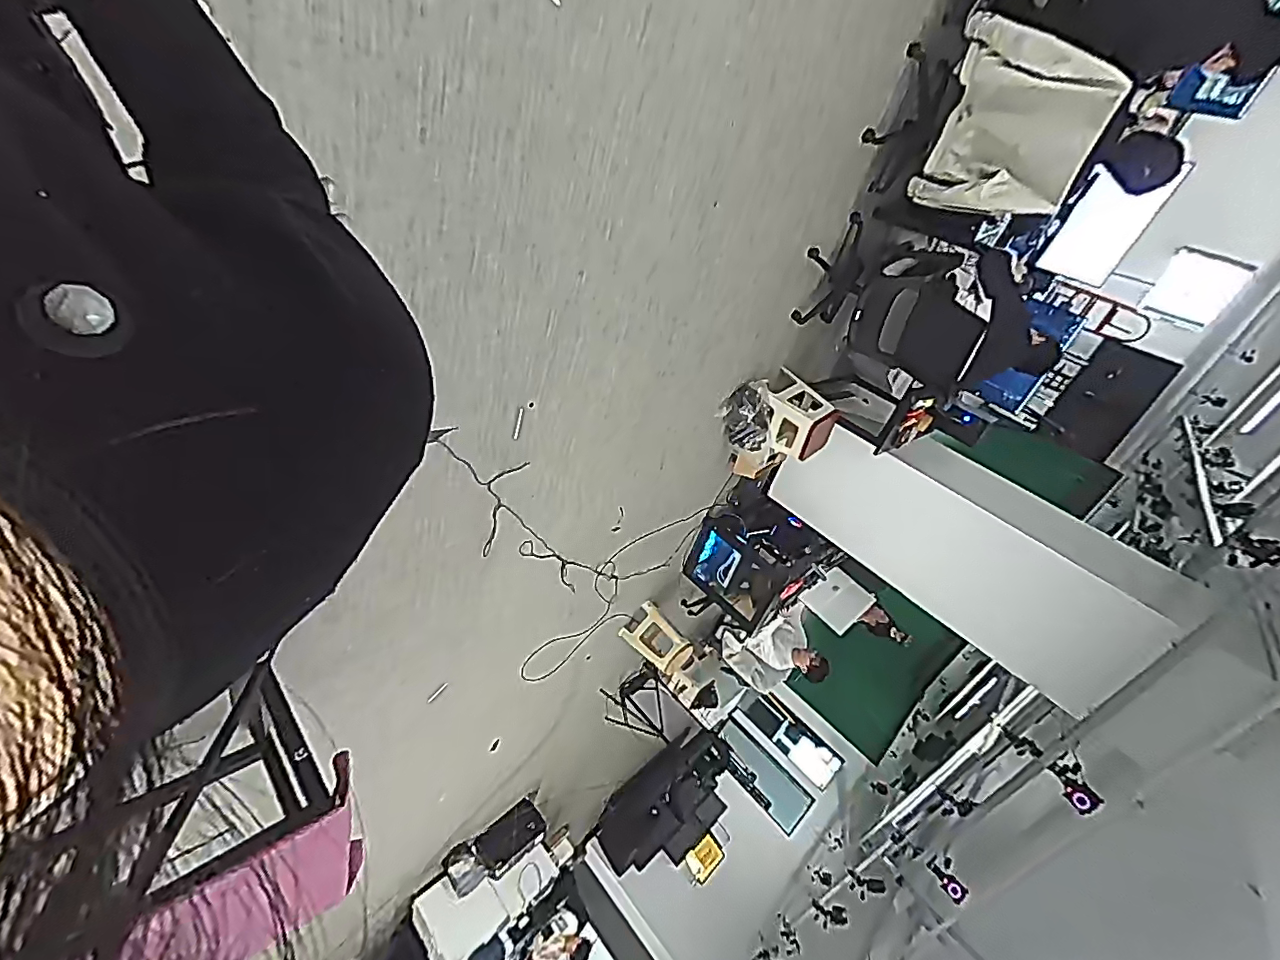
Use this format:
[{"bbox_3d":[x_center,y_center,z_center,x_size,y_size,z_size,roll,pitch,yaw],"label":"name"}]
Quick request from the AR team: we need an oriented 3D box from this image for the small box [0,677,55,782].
[{"bbox_3d":[-1.607,0.633,1.348,0.168,0.176,0.179,-18,136,-45],"label":"small box"}]
